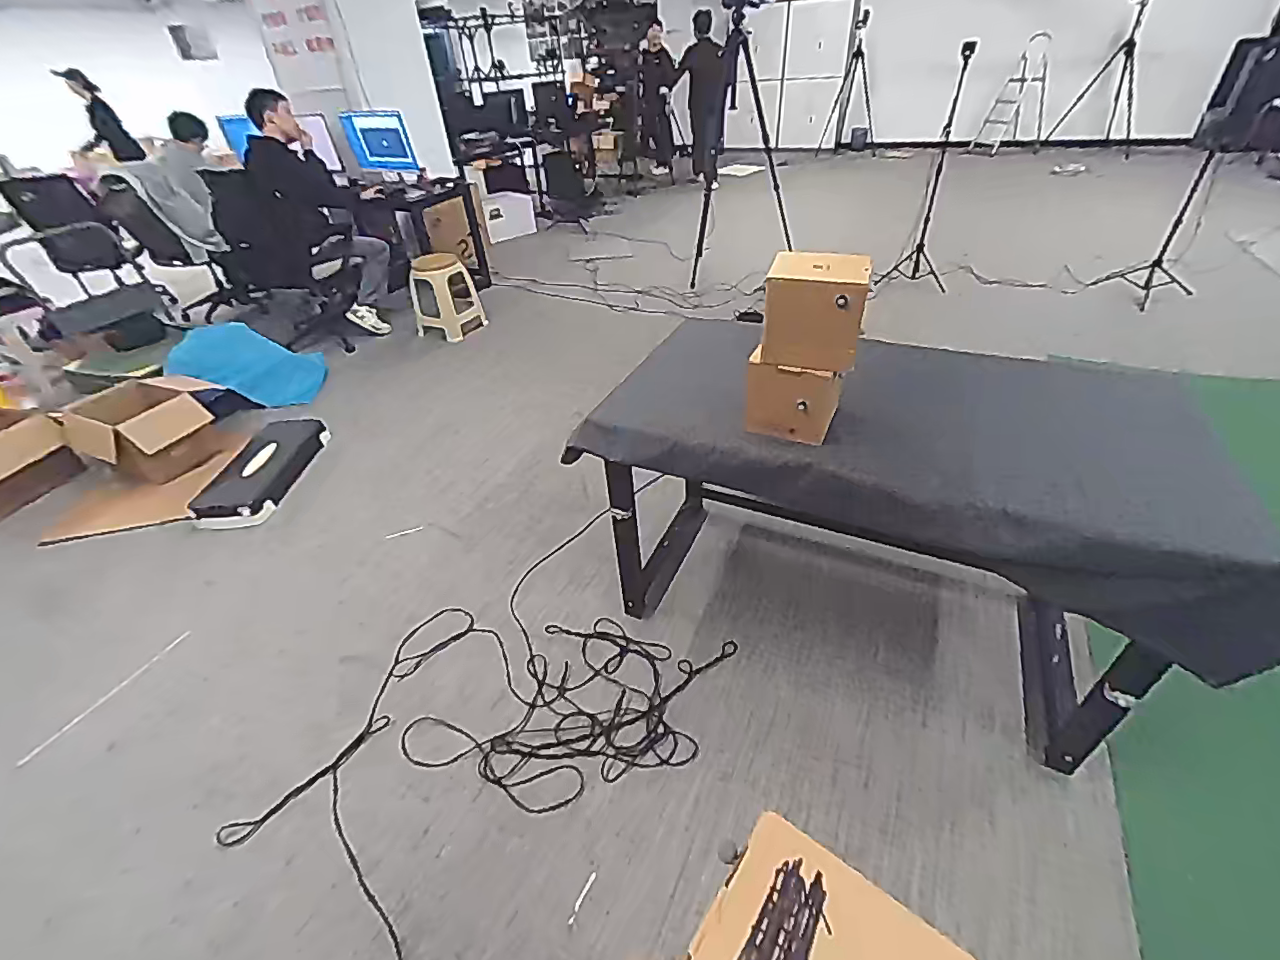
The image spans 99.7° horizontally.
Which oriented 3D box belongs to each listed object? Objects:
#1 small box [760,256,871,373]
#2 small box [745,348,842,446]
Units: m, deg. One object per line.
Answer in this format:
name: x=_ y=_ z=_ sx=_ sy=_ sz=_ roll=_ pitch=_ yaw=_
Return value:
small box: x=0.334 y=-0.319 z=1.038 sx=0.179 sy=0.176 sz=0.168 roll=10 pitch=40 yaw=17
small box: x=0.327 y=-0.193 z=1.141 sx=0.168 sy=0.176 sz=0.179 roll=16 pitch=41 yaw=22
